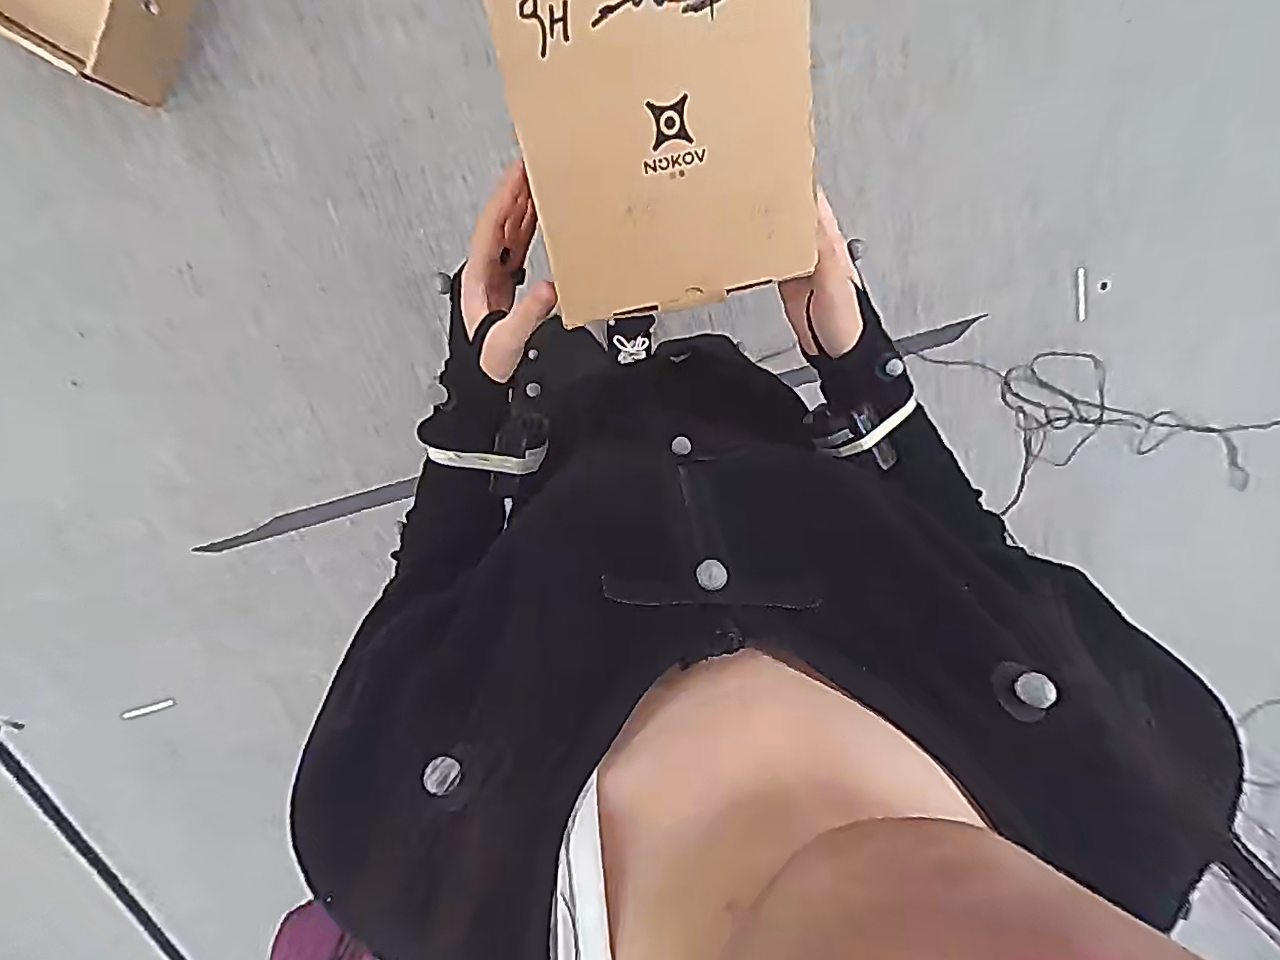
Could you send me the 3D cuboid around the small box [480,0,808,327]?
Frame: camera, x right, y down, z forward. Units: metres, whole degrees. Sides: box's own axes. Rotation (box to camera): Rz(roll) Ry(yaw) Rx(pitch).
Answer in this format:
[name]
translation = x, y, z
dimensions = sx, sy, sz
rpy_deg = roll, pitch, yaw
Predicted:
[small box]
translation = 0.003, -0.225, 0.377
dimensions = 0.168, 0.176, 0.179
rpy_deg = -14, 118, -2
